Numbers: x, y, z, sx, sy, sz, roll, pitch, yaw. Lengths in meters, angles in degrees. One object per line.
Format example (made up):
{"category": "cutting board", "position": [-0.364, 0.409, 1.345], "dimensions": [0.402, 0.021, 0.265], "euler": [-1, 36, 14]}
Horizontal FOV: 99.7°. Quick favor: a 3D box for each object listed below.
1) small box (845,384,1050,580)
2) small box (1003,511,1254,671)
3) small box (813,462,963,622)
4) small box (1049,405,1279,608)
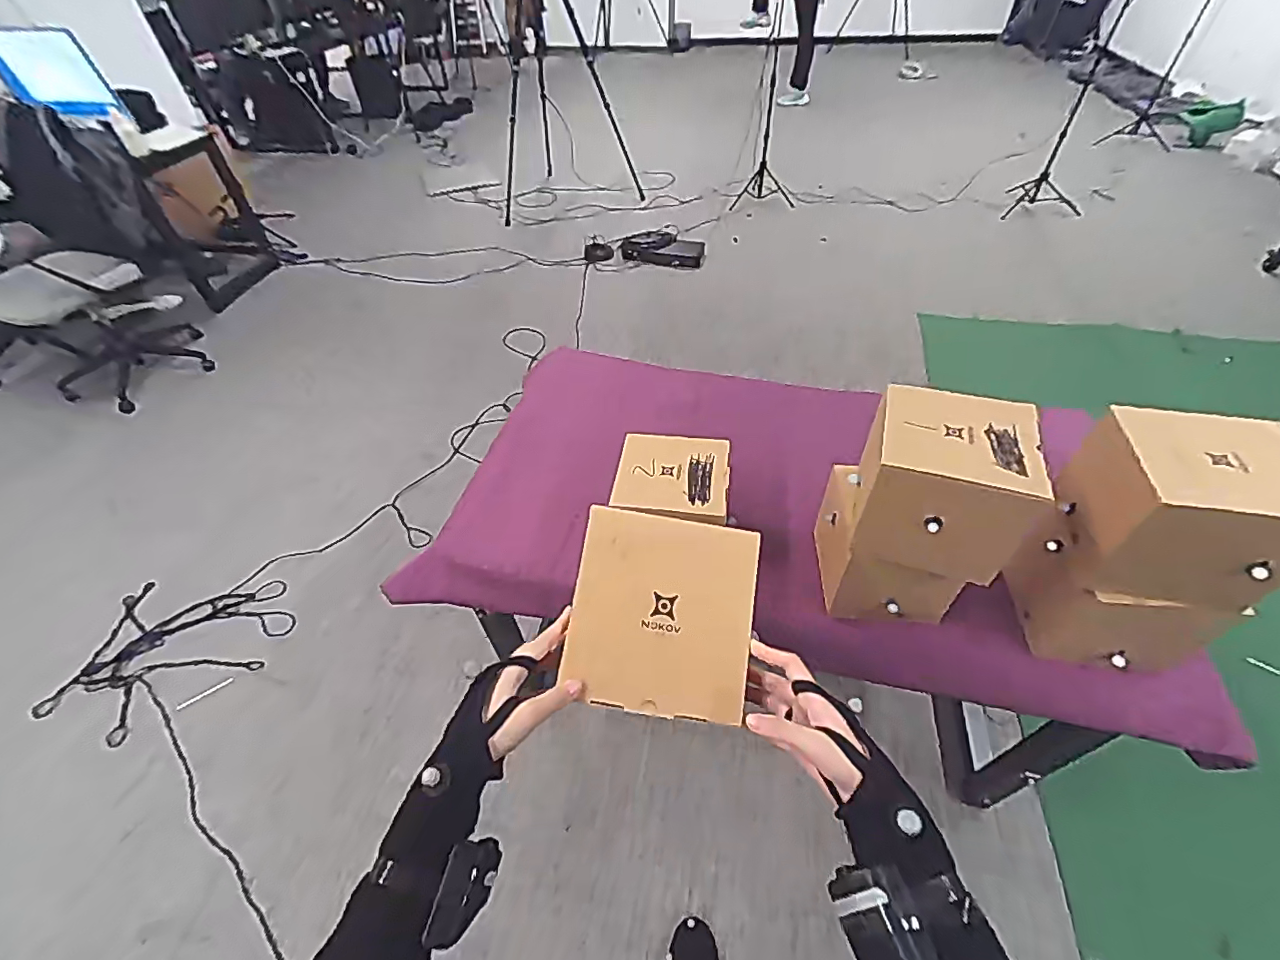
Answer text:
{"category": "small box", "position": [0.380, 0.005, 0.694], "dimensions": [0.179, 0.176, 0.168], "euler": [13, 48, 17]}
{"category": "small box", "position": [0.660, 0.153, 0.763], "dimensions": [0.179, 0.176, 0.168], "euler": [5, 47, 8]}
{"category": "small box", "position": [0.371, 0.097, 0.839], "dimensions": [0.168, 0.176, 0.179], "euler": [6, 53, 6]}
{"category": "small box", "position": [0.643, 0.034, 0.651], "dimensions": [0.179, 0.176, 0.168], "euler": [8, 48, 12]}
